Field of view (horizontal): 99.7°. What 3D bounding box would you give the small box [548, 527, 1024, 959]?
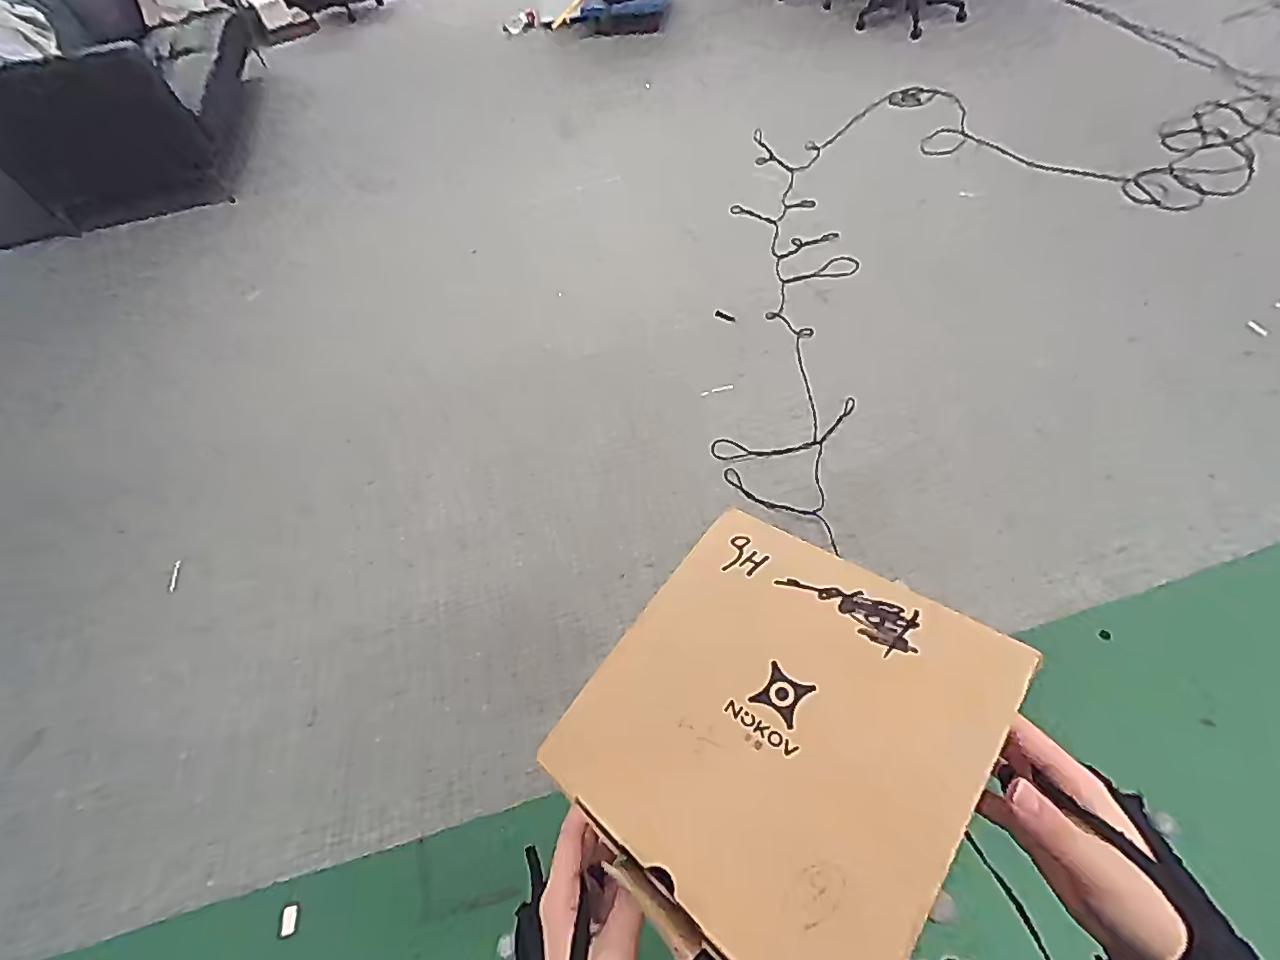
[{"bbox_3d":[0.085,0.167,0.318,0.168,0.176,0.179,26,64,35],"label":"small box"}]
